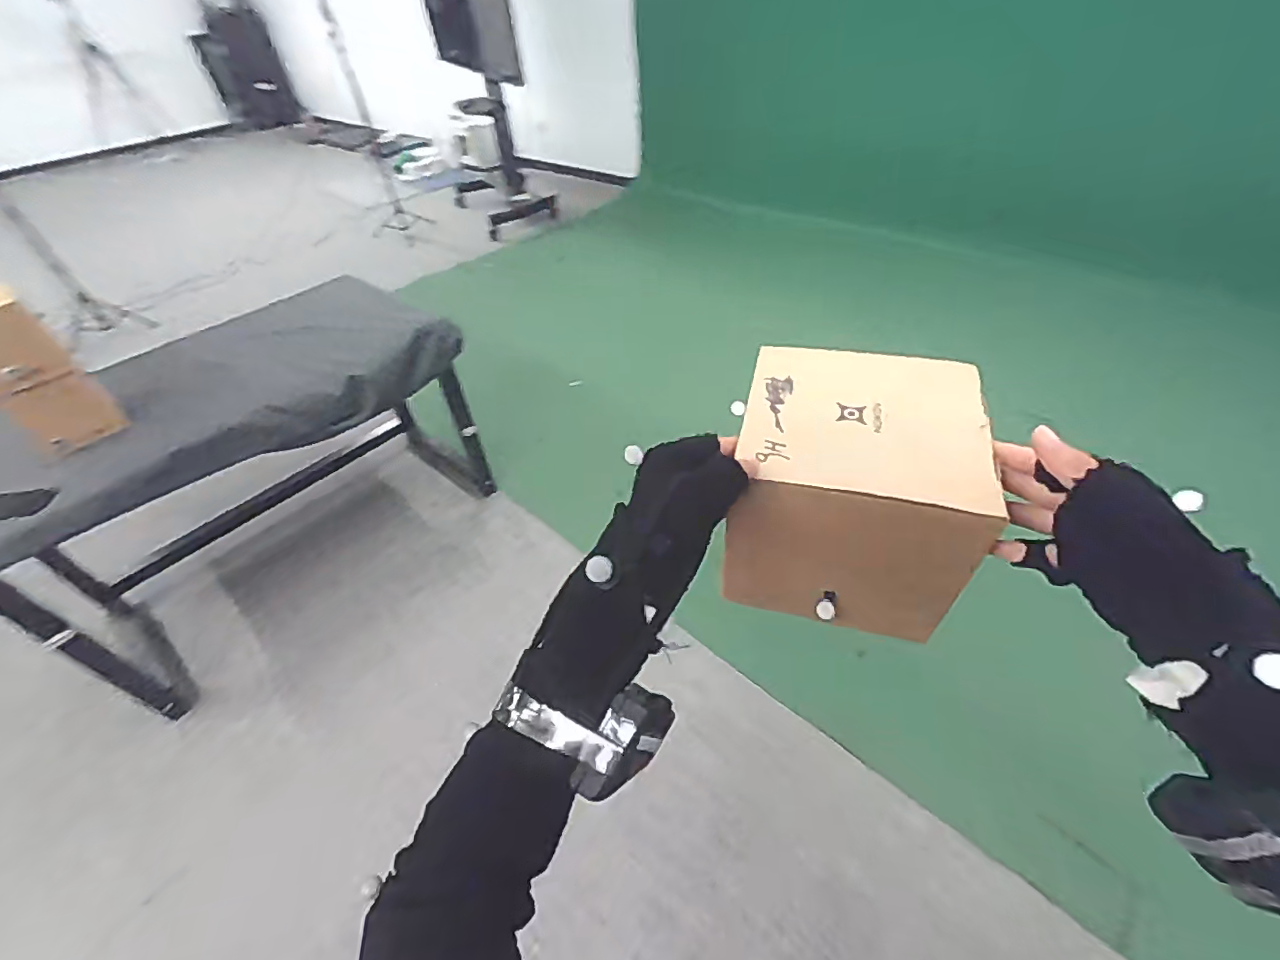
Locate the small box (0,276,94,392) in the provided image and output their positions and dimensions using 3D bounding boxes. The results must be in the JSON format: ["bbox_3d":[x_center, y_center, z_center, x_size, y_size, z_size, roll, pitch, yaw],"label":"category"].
[{"bbox_3d":[-1.357,-0.316,1.176,0.179,0.176,0.168,31,55,30],"label":"small box"}]

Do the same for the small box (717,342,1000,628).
[{"bbox_3d":[0.170,0.006,0.465,0.179,0.176,0.168,10,48,14],"label":"small box"}]

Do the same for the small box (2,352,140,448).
[{"bbox_3d":[-1.352,-0.201,1.290,0.179,0.176,0.168,31,54,33],"label":"small box"}]
